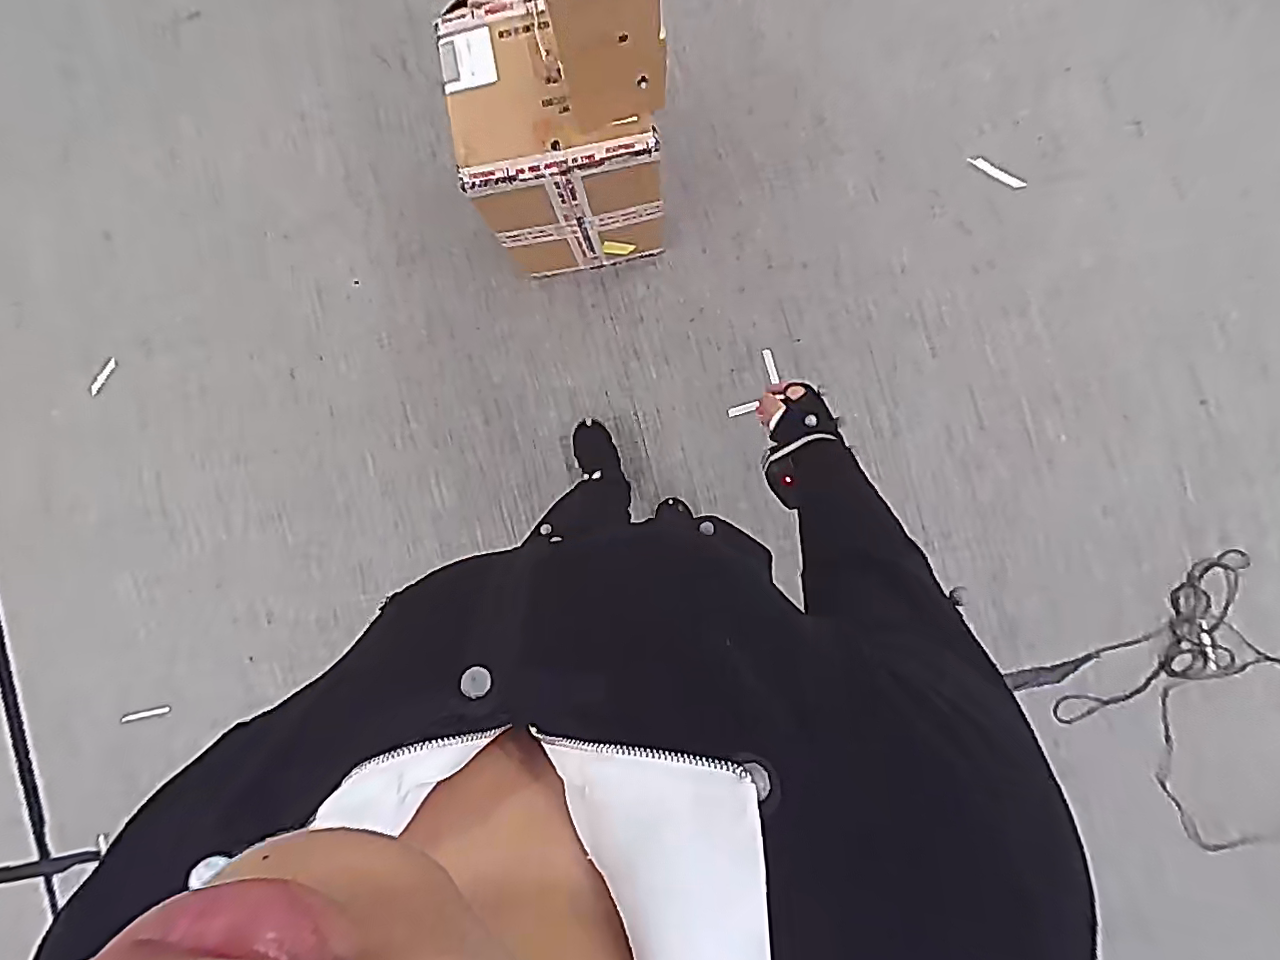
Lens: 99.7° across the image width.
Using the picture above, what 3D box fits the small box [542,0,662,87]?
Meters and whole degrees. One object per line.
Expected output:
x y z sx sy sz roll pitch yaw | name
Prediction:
-0.065 -0.736 0.795 0.168 0.176 0.179 -13 89 2 | small box

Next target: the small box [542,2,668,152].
-0.055 -0.728 0.959 0.179 0.176 0.168 -16 89 2 | small box
